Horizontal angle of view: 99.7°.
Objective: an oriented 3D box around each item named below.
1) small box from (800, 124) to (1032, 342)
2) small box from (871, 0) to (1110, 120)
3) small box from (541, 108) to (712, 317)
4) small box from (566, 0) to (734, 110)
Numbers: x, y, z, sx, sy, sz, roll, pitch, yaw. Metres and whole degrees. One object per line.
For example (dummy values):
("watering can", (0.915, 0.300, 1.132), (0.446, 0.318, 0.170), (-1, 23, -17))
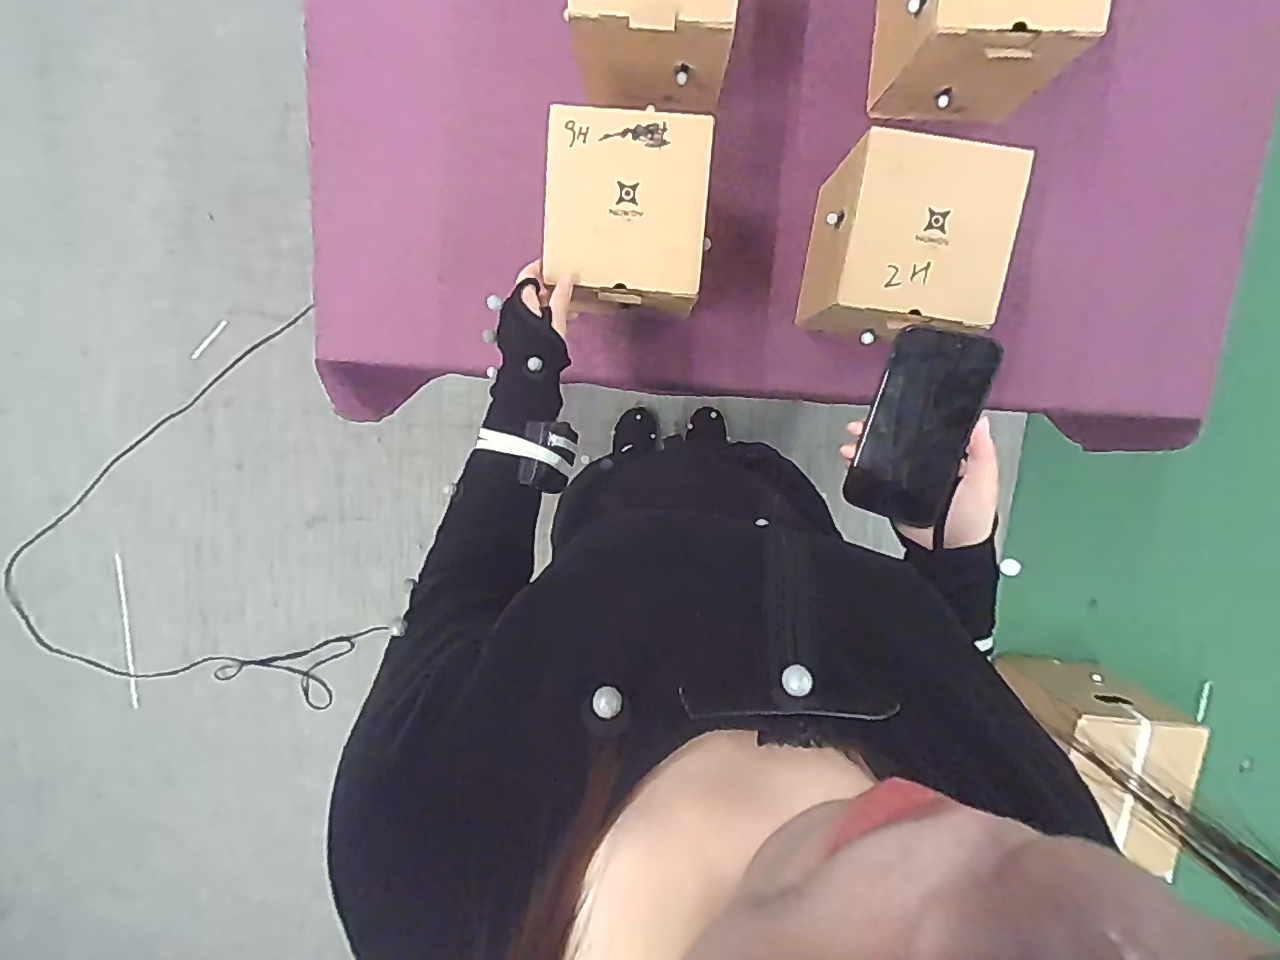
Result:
("small box", (0.297, -0.266, 0.624), (0.168, 0.176, 0.179), (9, 99, 1))
("small box", (0.366, -0.526, 0.582), (0.168, 0.176, 0.179), (2, 100, 1))
("small box", (-0.013, -0.291, 0.628), (0.168, 0.176, 0.179), (4, 100, 0))
("small box", (0.017, -0.538, 0.588), (0.168, 0.176, 0.179), (4, 99, 0))
